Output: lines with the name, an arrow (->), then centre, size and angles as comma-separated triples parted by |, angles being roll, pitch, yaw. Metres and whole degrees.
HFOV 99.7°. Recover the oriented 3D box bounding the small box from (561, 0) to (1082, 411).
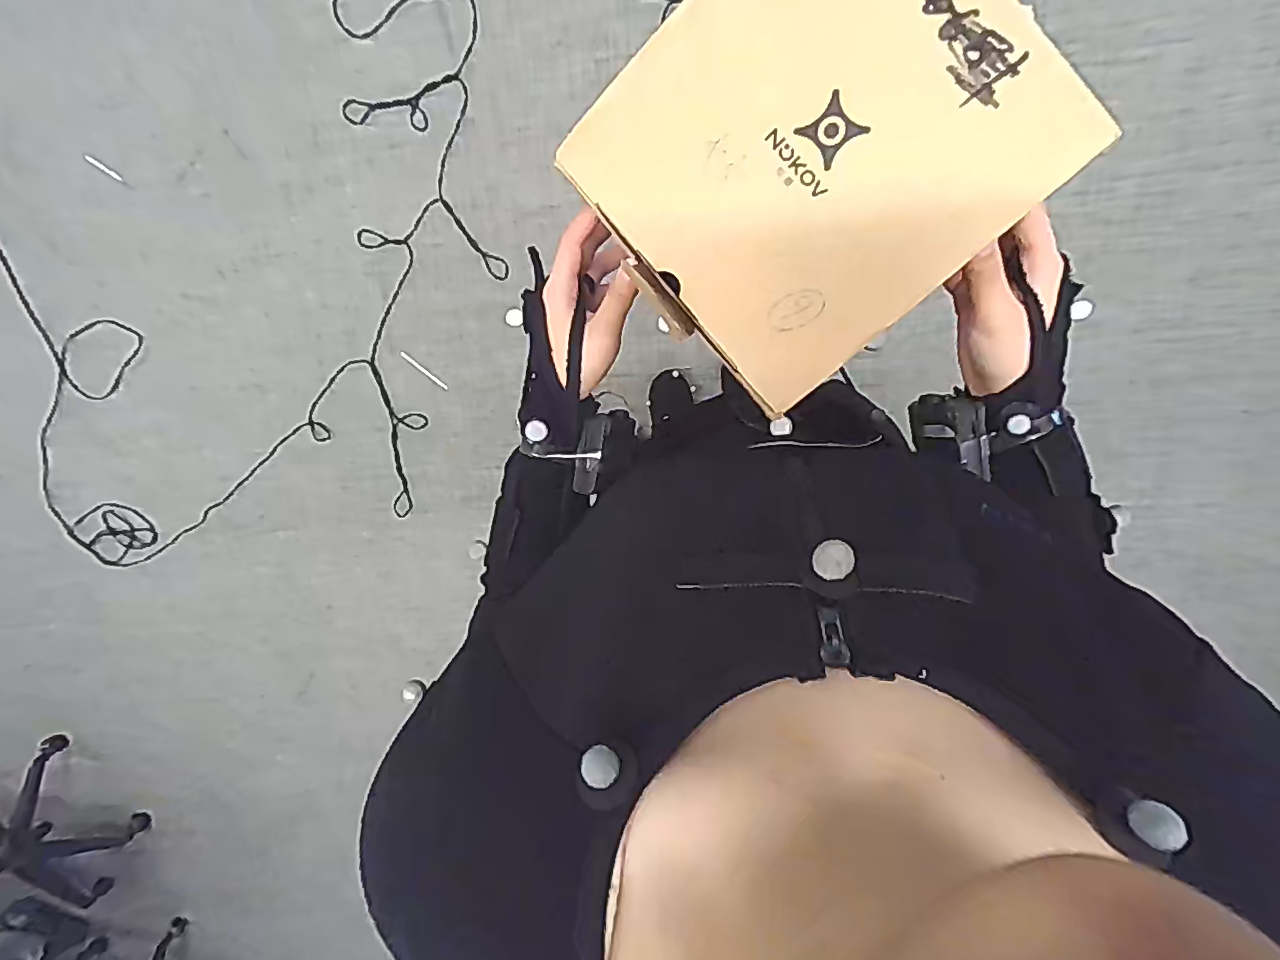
small box -> 0.089, -0.162, 0.325 | 0.179, 0.176, 0.168 | -41, 92, 15
